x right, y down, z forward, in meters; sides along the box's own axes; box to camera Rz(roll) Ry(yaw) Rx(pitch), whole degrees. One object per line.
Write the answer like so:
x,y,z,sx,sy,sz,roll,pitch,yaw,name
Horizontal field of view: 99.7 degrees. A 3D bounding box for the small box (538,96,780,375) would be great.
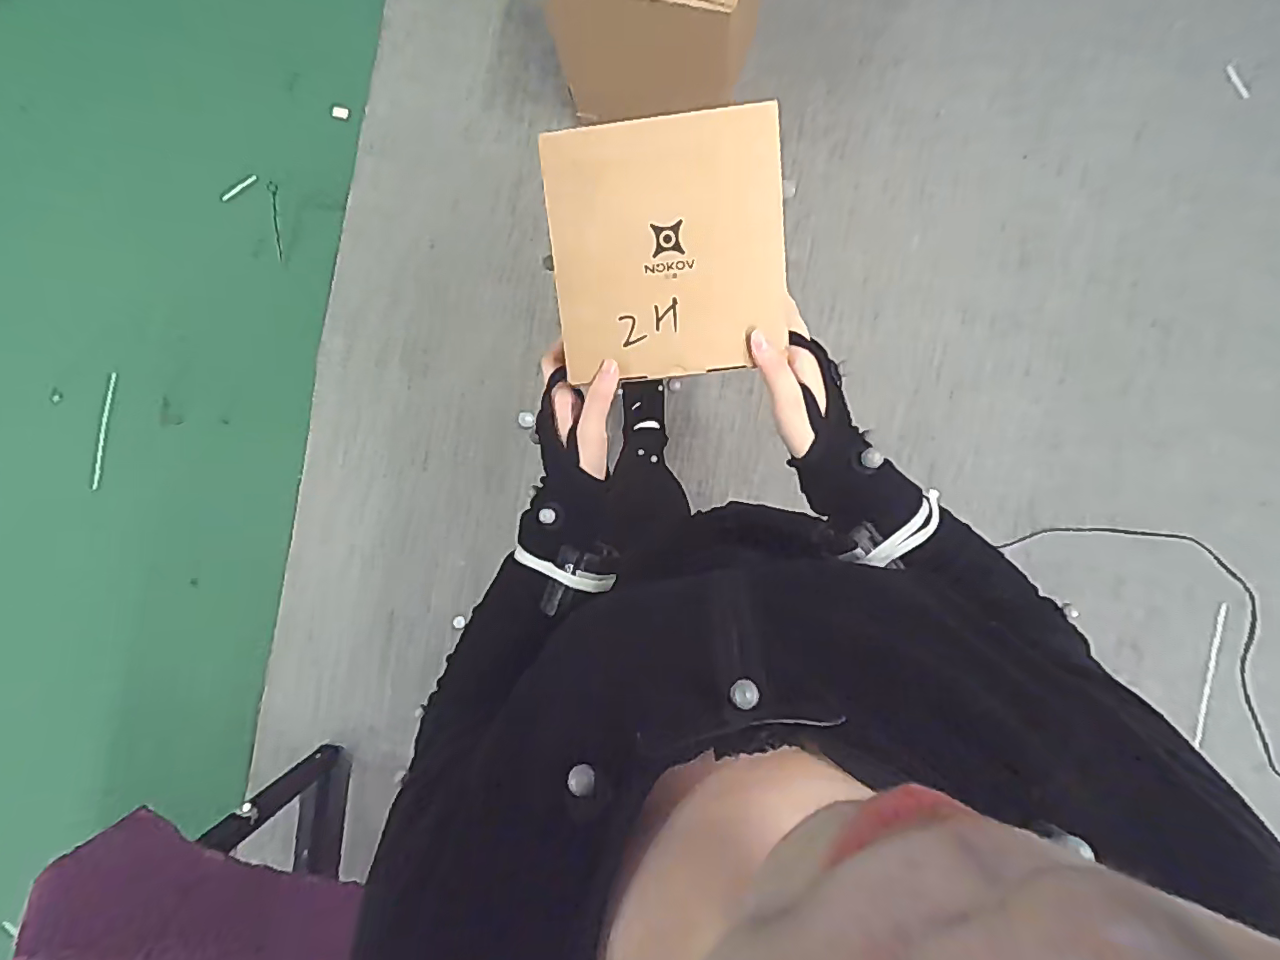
0.020,-0.185,0.465,0.168,0.176,0.179,-4,101,5,small box
